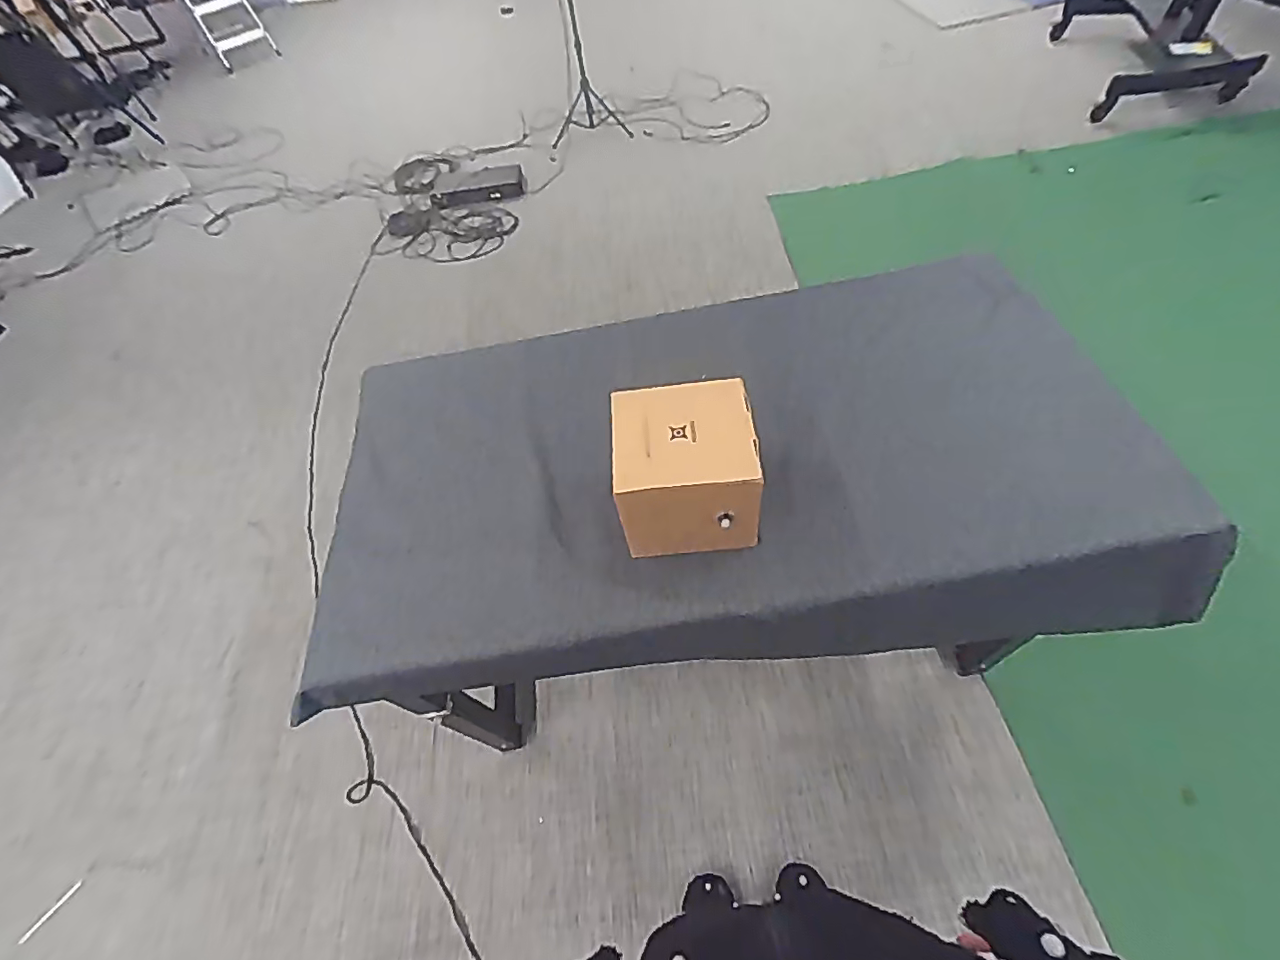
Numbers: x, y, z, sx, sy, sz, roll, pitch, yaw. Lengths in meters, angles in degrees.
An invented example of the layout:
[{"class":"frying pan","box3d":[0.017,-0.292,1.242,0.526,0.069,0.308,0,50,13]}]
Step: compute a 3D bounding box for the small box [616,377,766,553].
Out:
[{"class":"small box","box3d":[0.067,-0.015,0.736,0.179,0.176,0.168,-7,54,5]}]
